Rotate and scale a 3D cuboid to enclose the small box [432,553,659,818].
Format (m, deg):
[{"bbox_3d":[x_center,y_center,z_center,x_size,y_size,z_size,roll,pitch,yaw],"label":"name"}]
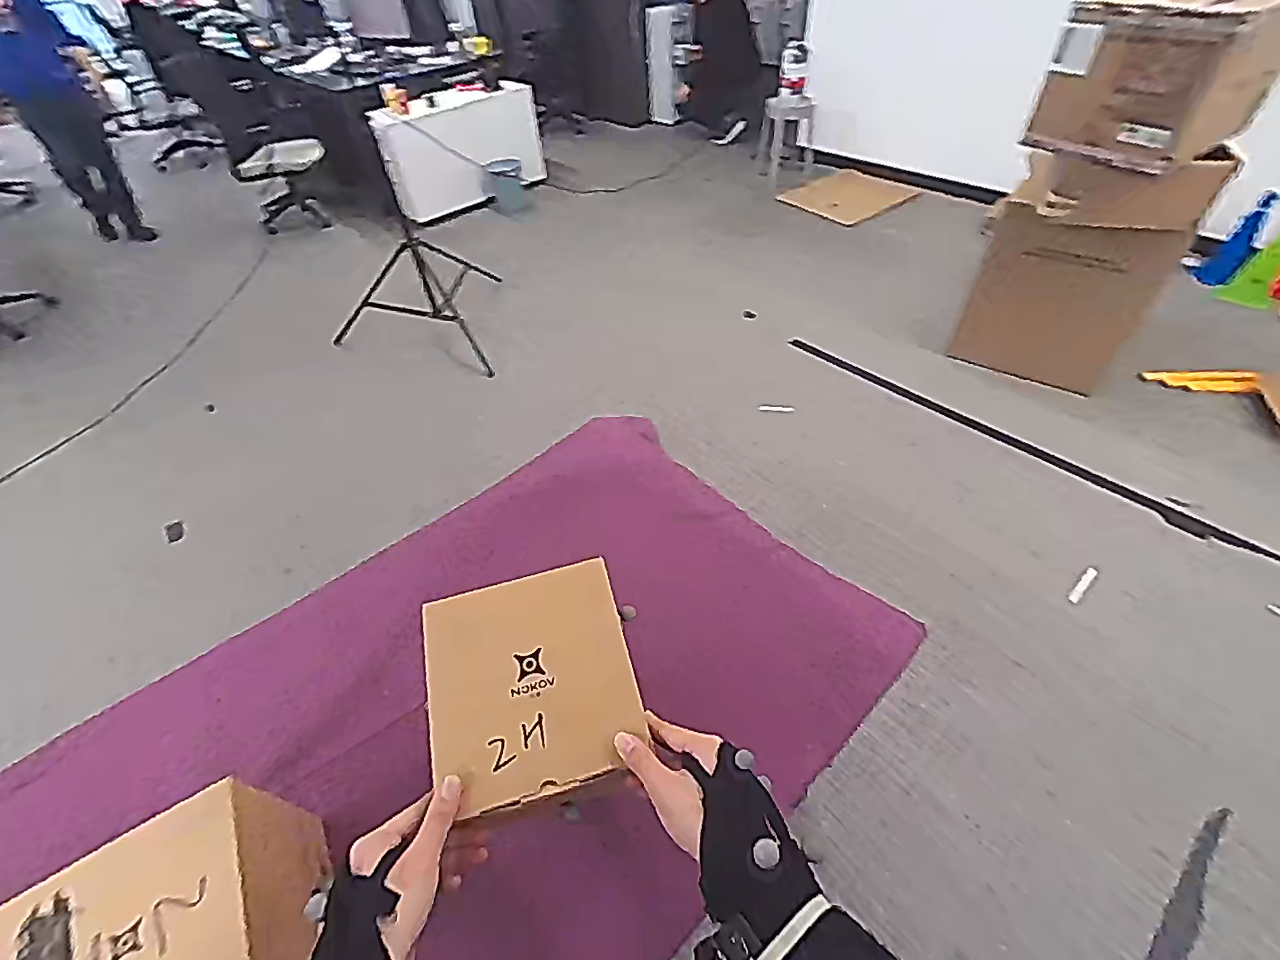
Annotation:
[{"bbox_3d":[-0.084,0.197,0.510,0.168,0.176,0.179,-14,57,-7],"label":"small box"}]
